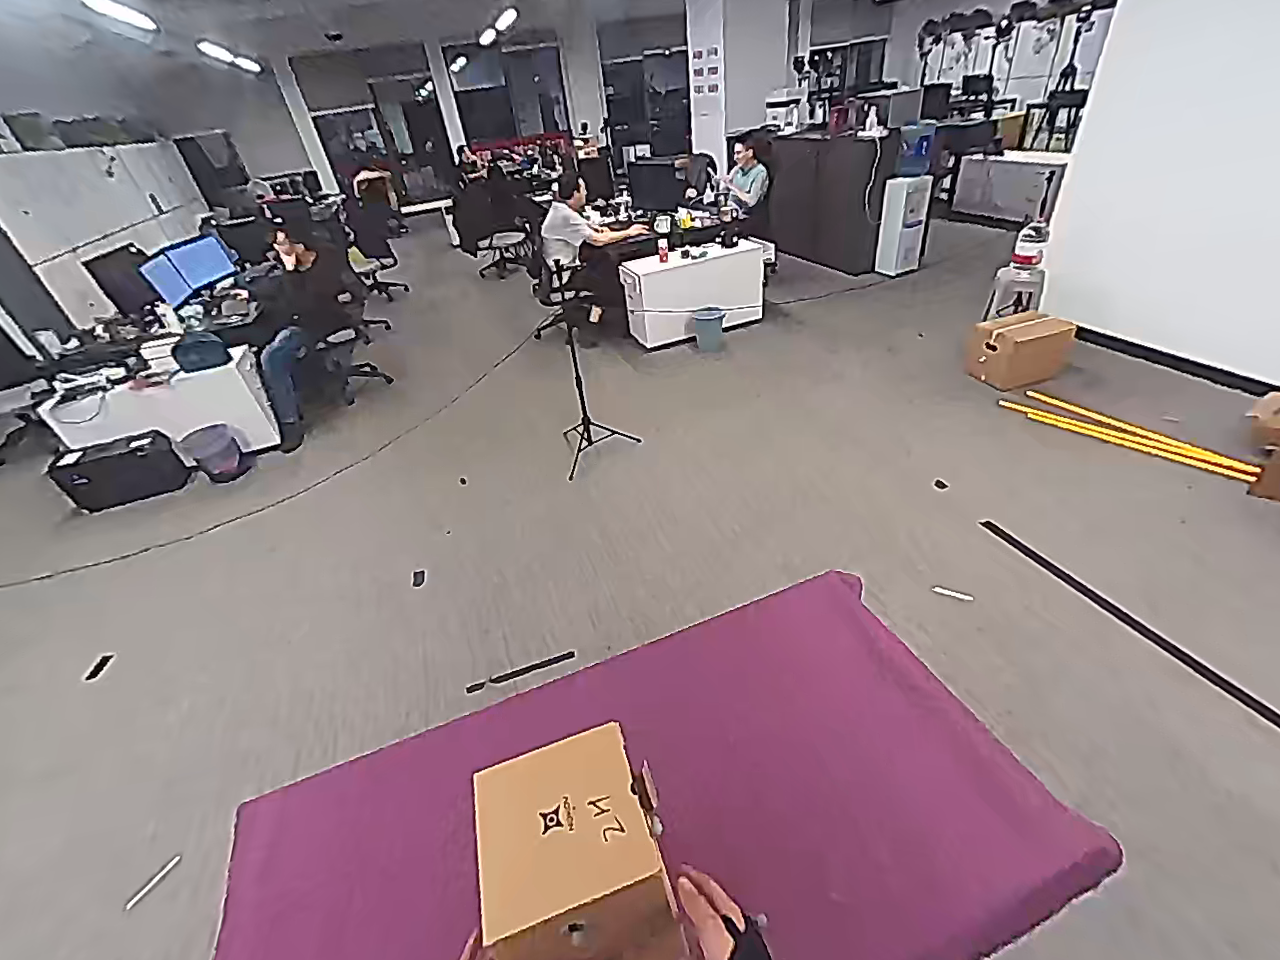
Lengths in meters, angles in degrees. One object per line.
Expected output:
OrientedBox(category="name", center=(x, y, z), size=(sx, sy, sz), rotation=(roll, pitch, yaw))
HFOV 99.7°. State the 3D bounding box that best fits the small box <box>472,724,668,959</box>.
OrientedBox(category="small box", center=(-0.078, 0.422, 0.615), size=(0.179, 0.176, 0.168), rotation=(-15, 36, -10))
